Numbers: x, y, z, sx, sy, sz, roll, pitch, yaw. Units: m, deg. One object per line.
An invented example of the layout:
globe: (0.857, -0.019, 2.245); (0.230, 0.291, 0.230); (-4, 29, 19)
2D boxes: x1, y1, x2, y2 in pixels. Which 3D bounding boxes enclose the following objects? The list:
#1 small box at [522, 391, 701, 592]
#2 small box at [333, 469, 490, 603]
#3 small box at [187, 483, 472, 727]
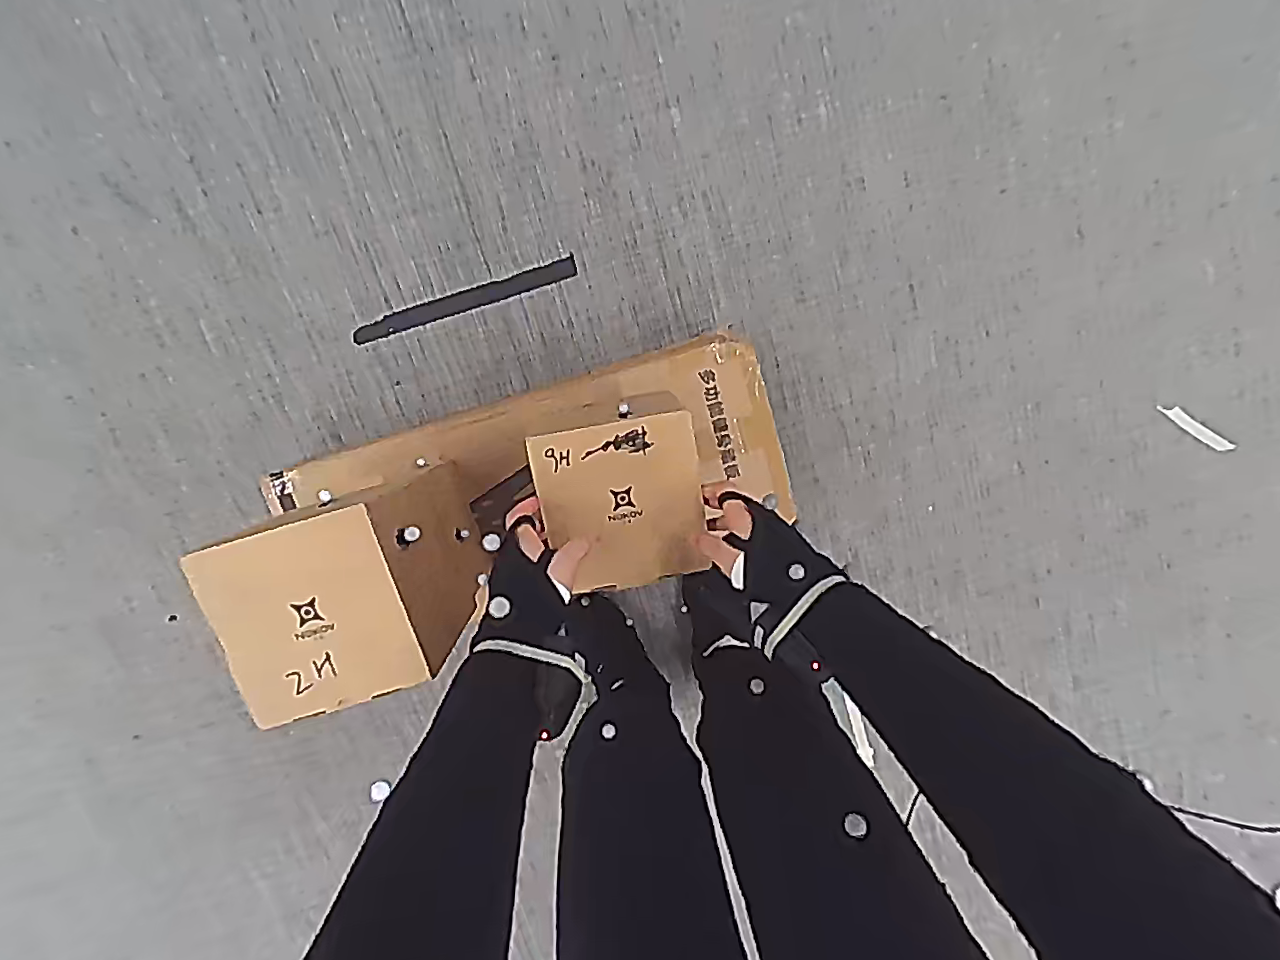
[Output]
small box: (-0.027, 0.004, 0.634); (0.168, 0.176, 0.179); (-9, 108, 0)
small box: (-0.319, 0.092, 0.720); (0.168, 0.176, 0.179); (-18, 102, 0)
small box: (-0.293, 0.109, 0.557); (0.168, 0.176, 0.179); (-16, 101, 0)
